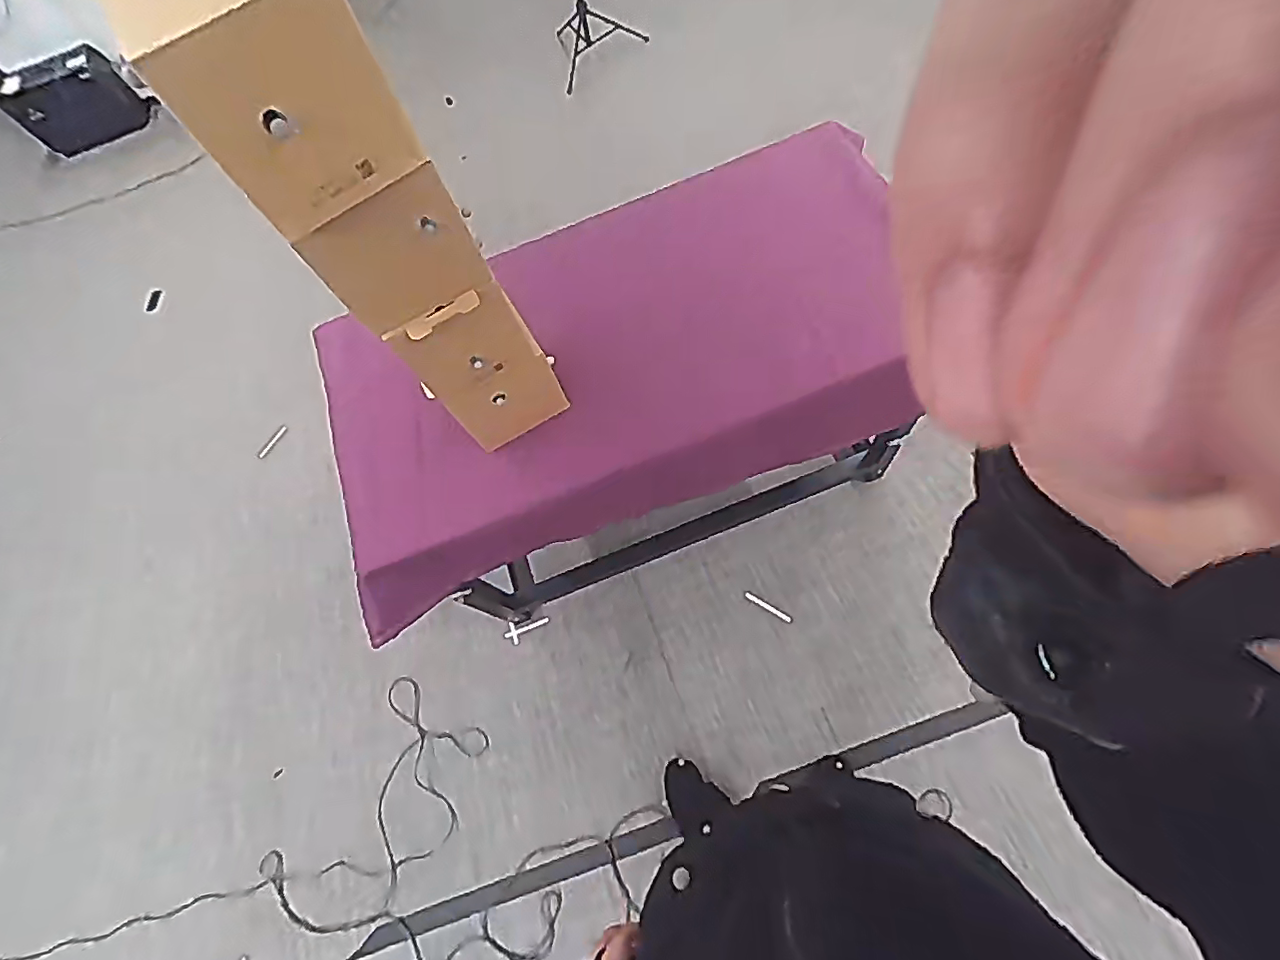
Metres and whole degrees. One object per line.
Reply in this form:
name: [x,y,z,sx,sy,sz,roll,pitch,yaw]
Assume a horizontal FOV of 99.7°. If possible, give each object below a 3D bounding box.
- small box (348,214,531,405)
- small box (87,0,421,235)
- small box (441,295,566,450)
small box: [-0.291,-0.247,0.808,0.168,0.176,0.179,-32,66,-5]
small box: [-0.341,-0.365,0.506,0.168,0.176,0.179,-38,65,-9]
small box: [-0.256,-0.181,0.955,0.179,0.176,0.168,-31,66,-5]
